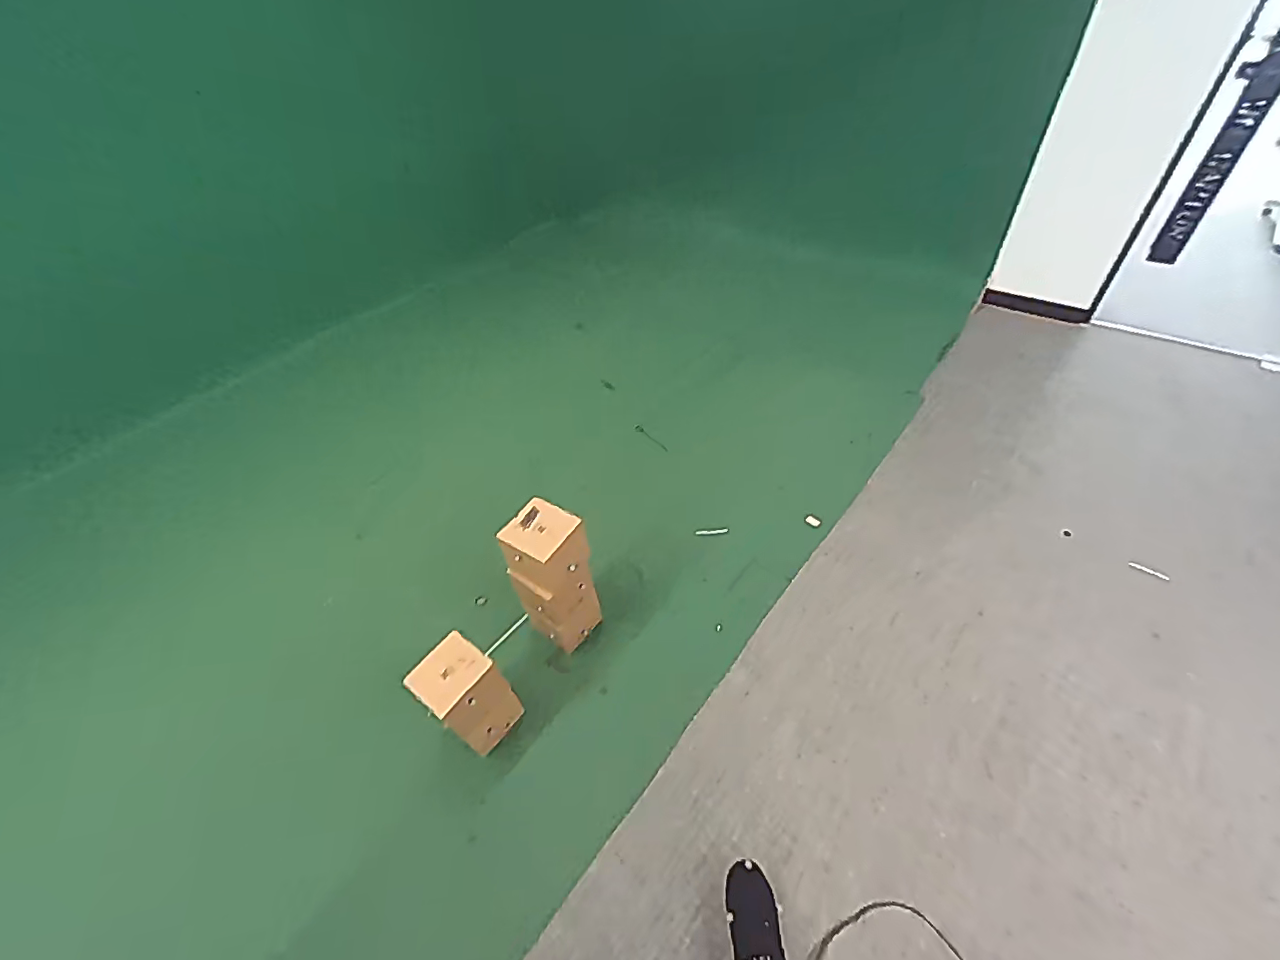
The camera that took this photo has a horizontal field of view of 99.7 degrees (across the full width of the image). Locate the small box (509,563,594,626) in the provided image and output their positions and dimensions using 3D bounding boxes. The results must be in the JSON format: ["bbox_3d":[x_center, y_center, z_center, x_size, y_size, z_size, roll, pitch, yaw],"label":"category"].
[{"bbox_3d":[-0.260,0.313,1.634,0.179,0.176,0.168,27,55,28],"label":"small box"}]

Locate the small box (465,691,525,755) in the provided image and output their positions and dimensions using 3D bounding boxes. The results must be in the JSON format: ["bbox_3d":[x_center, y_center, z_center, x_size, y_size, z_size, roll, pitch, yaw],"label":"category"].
[{"bbox_3d":[-0.459,0.662,1.559,0.179,0.176,0.168,26,56,29],"label":"small box"}]

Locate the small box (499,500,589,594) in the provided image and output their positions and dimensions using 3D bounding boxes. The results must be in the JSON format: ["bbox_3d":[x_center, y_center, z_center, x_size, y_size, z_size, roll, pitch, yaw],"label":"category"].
[{"bbox_3d":[-0.264,0.192,1.523,0.179,0.176,0.168,23,53,24],"label":"small box"}]

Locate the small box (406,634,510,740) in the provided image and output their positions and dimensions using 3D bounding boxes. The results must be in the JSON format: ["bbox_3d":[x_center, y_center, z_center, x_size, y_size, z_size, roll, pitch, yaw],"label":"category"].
[{"bbox_3d":[-0.475,0.554,1.437,0.168,0.176,0.179,26,55,29],"label":"small box"}]
